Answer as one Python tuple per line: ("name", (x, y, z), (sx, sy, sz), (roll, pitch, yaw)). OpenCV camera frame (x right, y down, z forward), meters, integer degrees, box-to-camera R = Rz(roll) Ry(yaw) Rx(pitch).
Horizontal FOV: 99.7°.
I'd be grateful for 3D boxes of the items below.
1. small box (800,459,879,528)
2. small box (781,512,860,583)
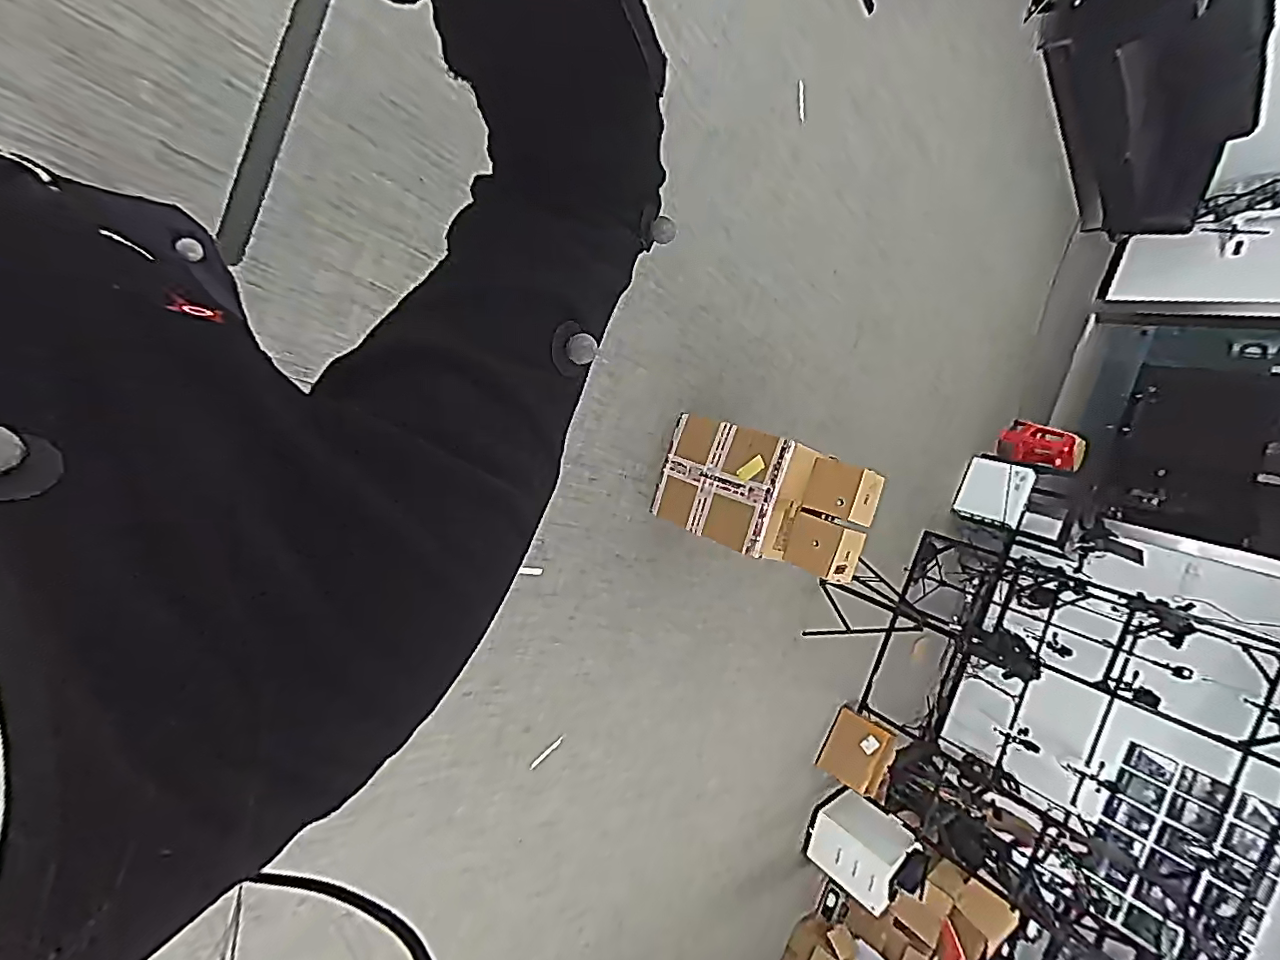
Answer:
("small box", (0.653, 0.043, 1.787), (0.168, 0.176, 0.179), (17, 91, -44))
("small box", (0.595, 0.225, 1.800), (0.168, 0.176, 0.179), (16, 94, -43))
